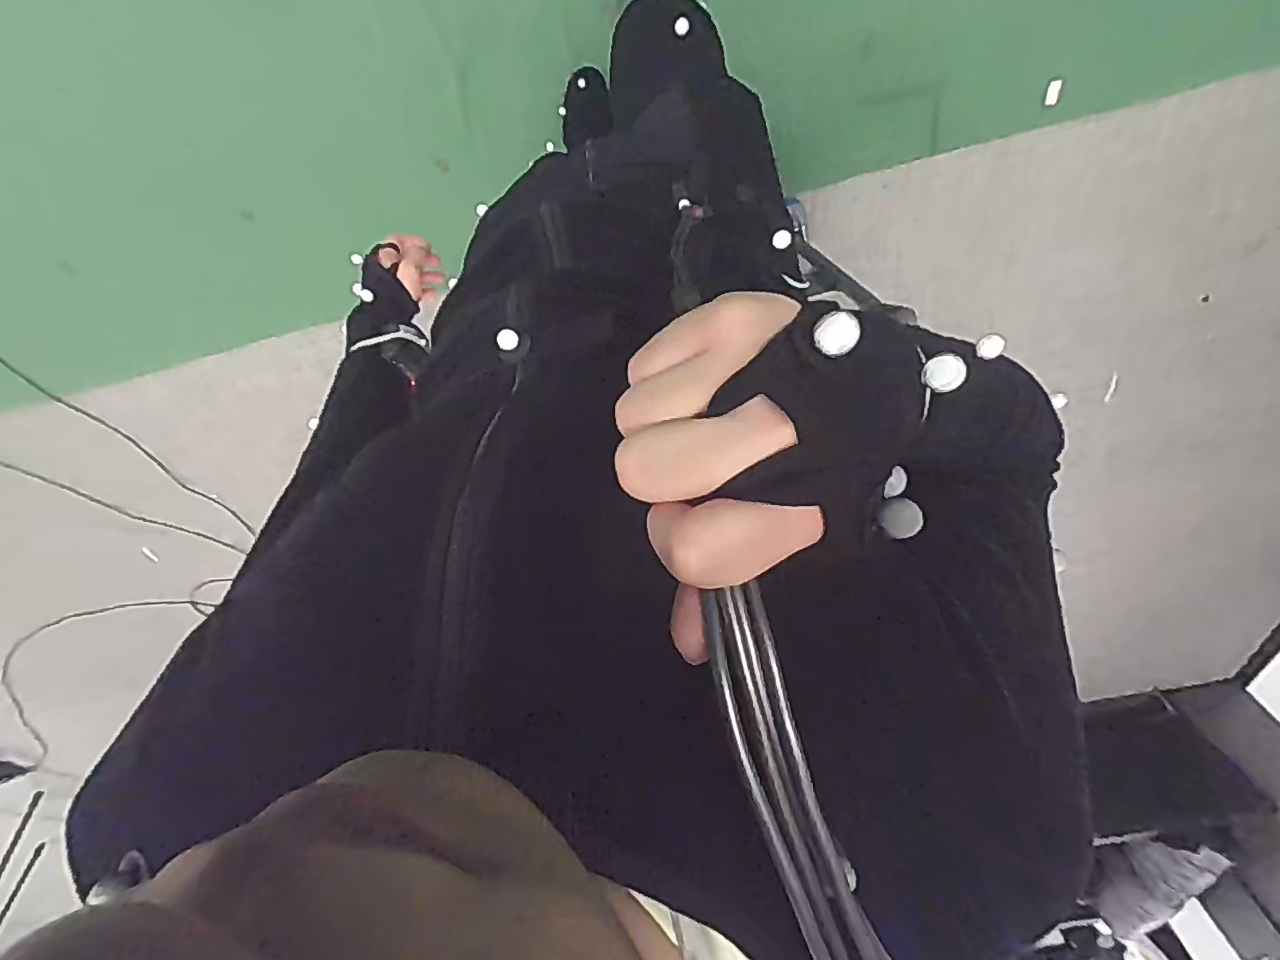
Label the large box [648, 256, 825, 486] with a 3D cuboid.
[{"bbox_3d":[0.233,-0.261,1.316,0.320,0.320,0.408,-15,130,6],"label":"large box"}]
